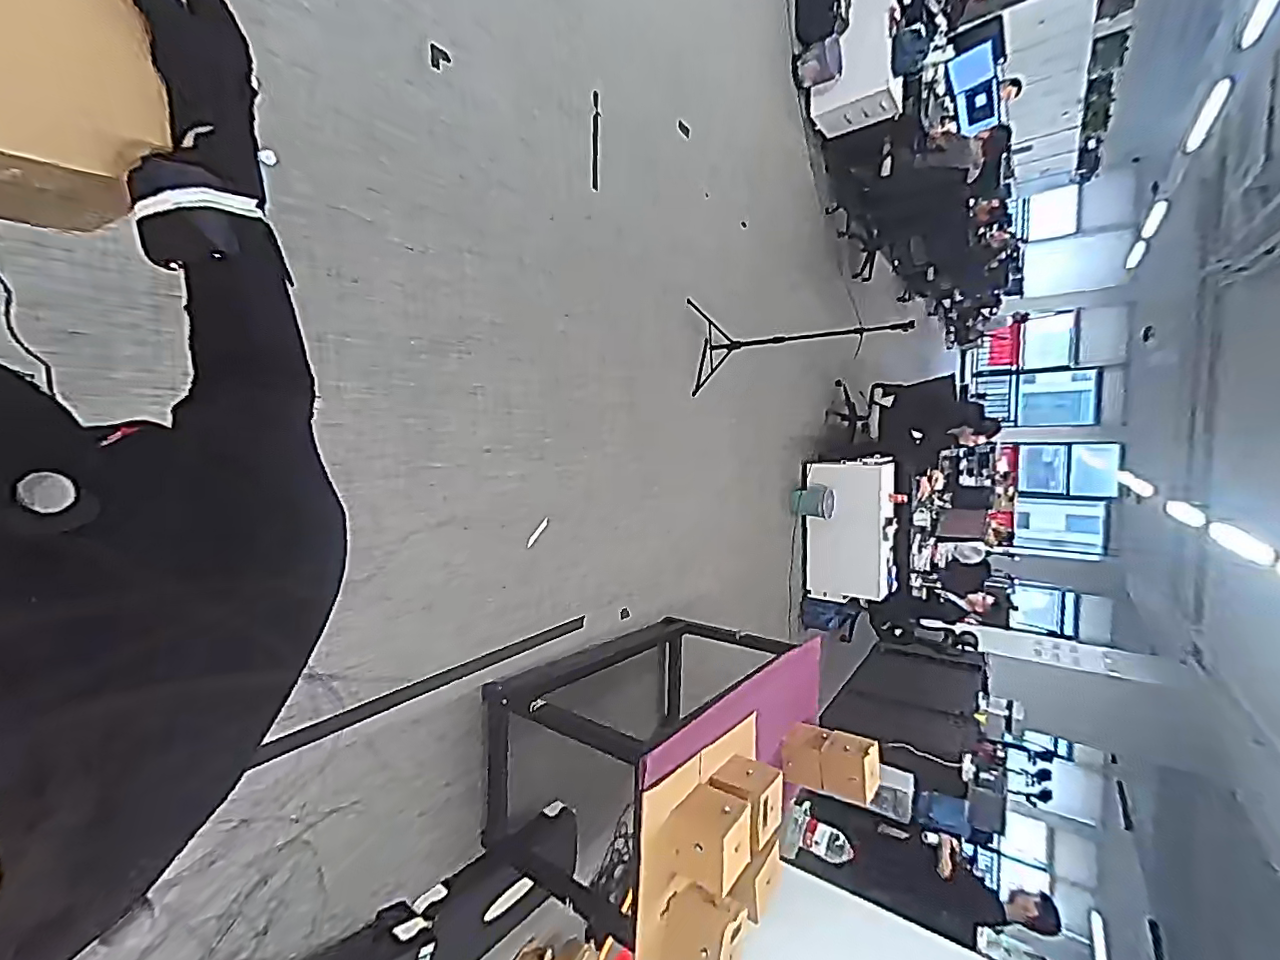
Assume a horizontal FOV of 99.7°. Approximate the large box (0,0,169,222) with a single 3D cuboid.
[{"bbox_3d":[-0.593,-0.375,0.316,0.408,0.320,0.320,-11,110,-53],"label":"large box"}]
